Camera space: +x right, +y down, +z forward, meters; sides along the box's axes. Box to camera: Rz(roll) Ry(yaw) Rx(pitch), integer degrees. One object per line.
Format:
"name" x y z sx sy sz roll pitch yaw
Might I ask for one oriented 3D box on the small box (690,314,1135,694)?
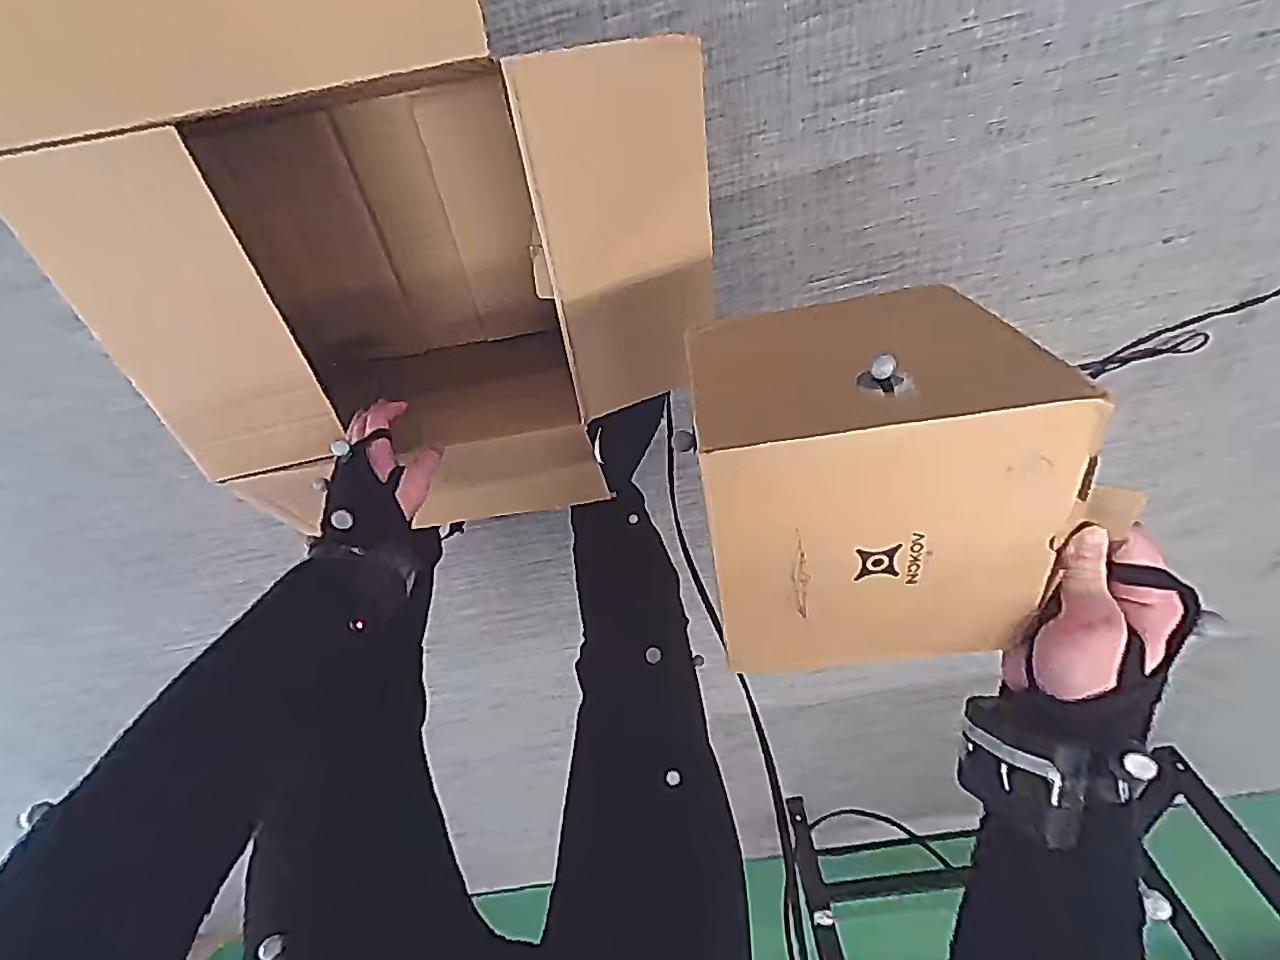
"small box" 0.128 0.006 0.336 0.179 0.176 0.168 -5 122 5
